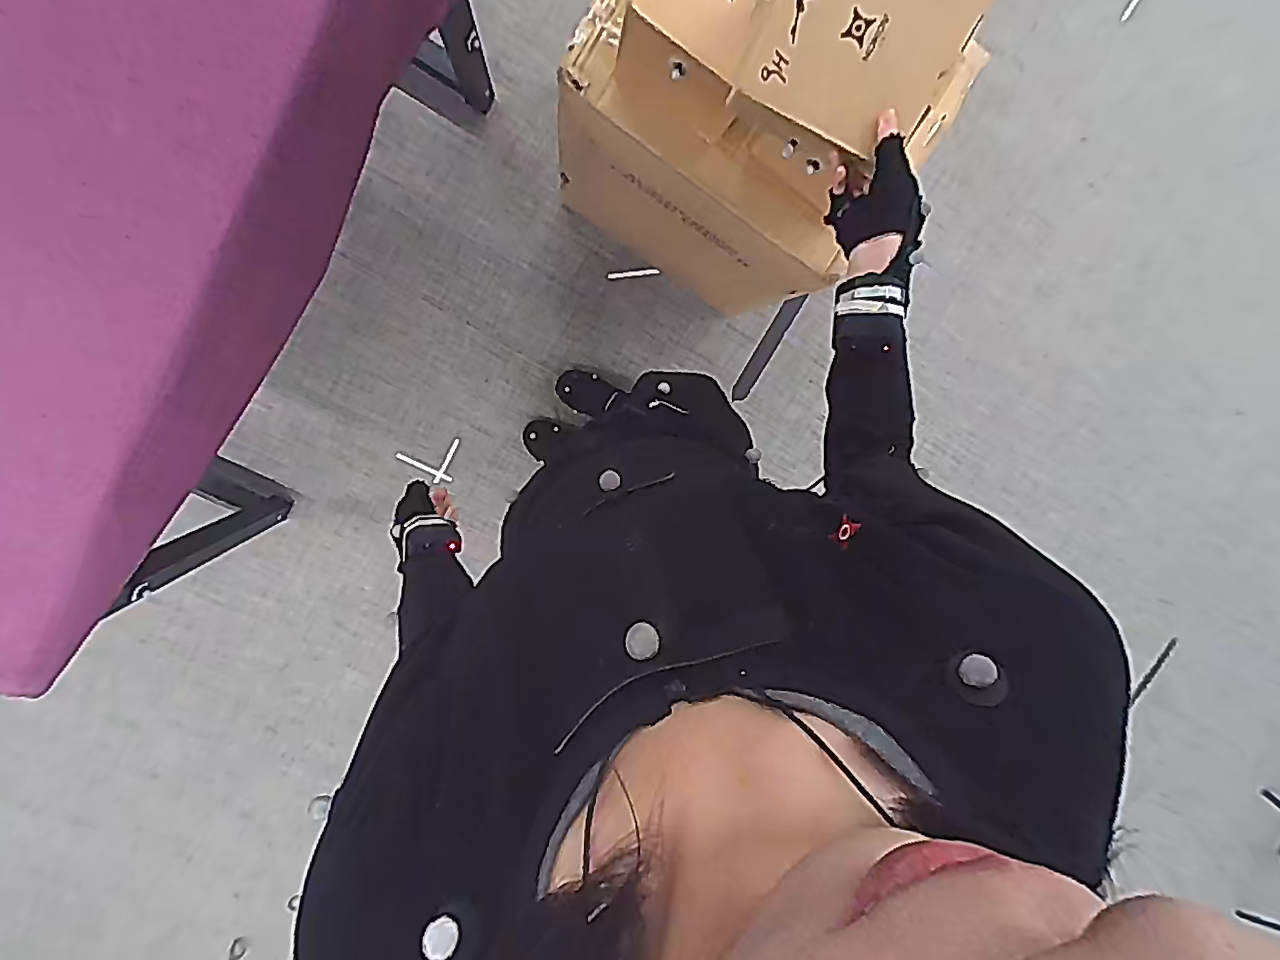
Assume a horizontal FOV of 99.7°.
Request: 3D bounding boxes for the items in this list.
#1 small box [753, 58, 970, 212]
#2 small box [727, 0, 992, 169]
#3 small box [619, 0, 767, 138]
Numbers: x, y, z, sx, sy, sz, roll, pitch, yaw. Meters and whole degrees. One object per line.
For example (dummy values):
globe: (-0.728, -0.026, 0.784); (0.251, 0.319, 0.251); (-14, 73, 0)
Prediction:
small box: (0.286, -0.497, 0.737); (0.179, 0.176, 0.168); (33, 96, -11)
small box: (0.209, -0.445, 0.558); (0.179, 0.176, 0.168); (22, 116, -9)
small box: (0.087, -0.584, 0.694); (0.179, 0.176, 0.168); (29, 98, -14)
